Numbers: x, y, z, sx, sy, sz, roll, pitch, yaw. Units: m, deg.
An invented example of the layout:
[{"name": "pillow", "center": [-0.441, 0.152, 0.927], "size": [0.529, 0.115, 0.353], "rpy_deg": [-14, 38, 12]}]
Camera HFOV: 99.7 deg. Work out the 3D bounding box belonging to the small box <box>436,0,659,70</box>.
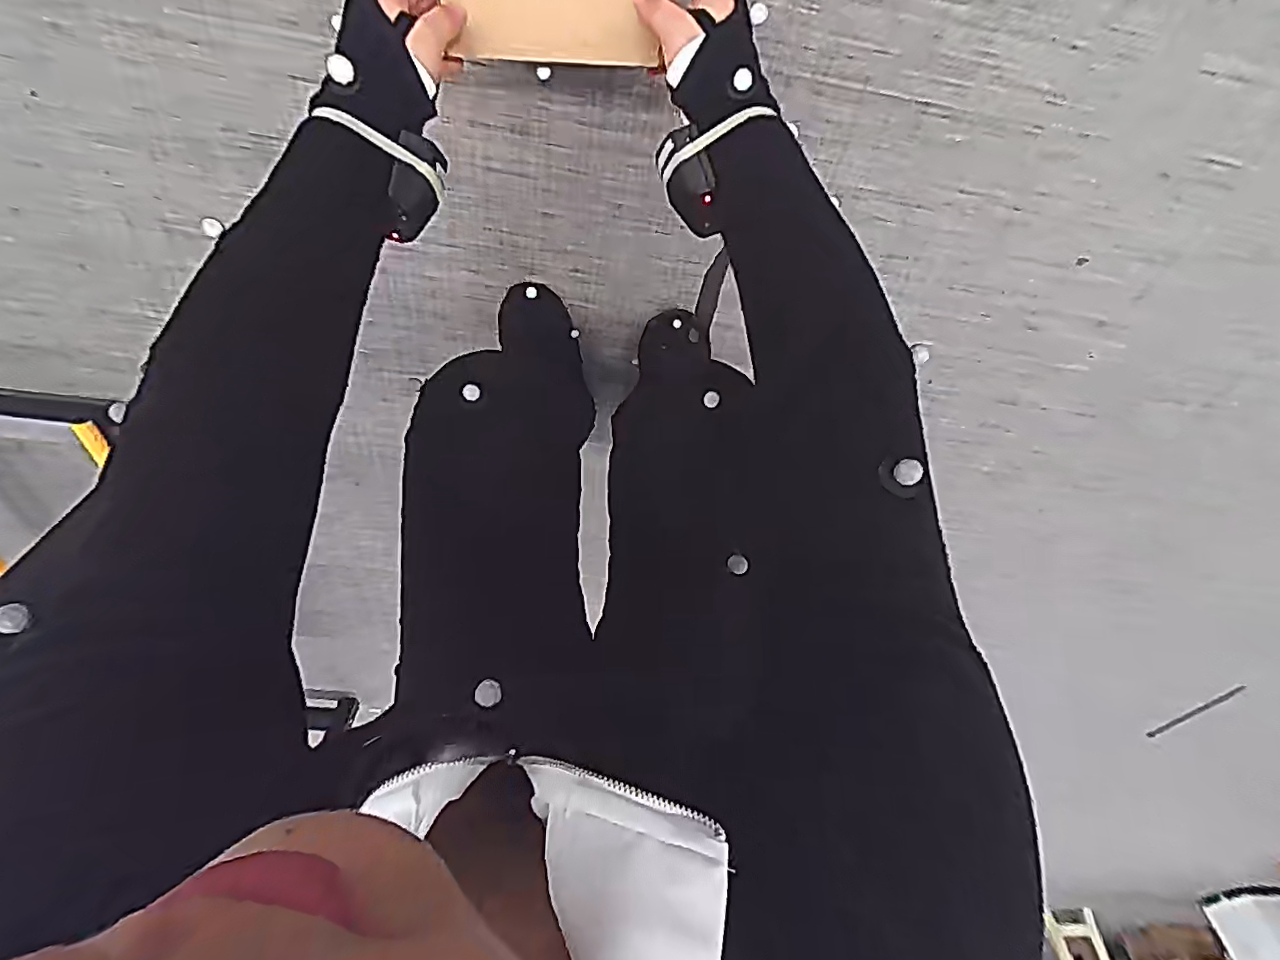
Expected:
[{"name": "small box", "center": [-0.071, -0.456, 0.457], "size": [0.179, 0.176, 0.168], "rpy_deg": [1, 129, -3]}]
